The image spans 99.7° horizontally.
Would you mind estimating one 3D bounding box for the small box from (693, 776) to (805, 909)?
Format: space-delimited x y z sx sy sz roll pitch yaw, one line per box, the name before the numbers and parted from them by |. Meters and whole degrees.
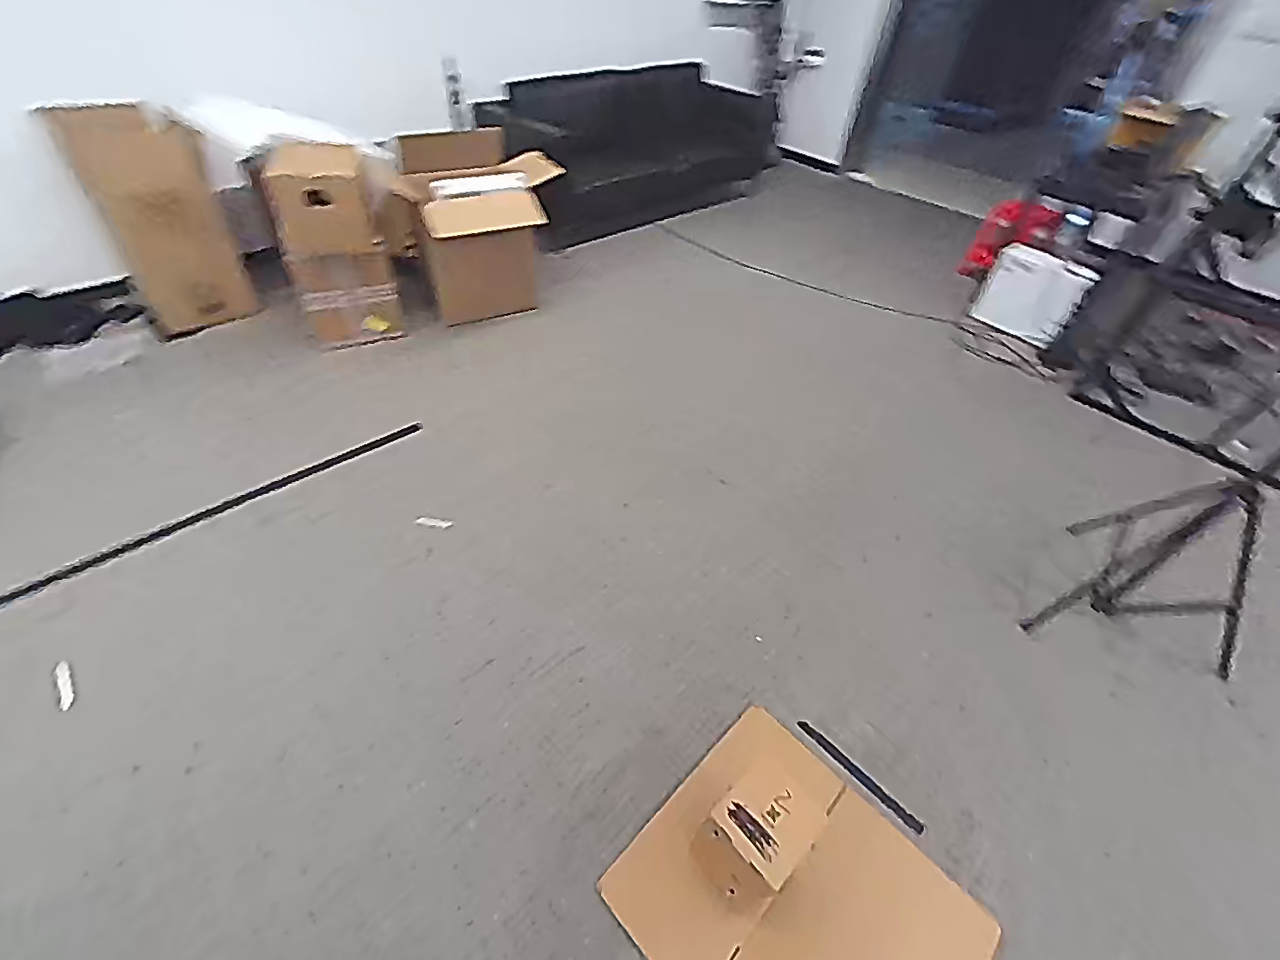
small box | 0.234 0.815 1.213 0.179 0.176 0.168 -29 55 -30
